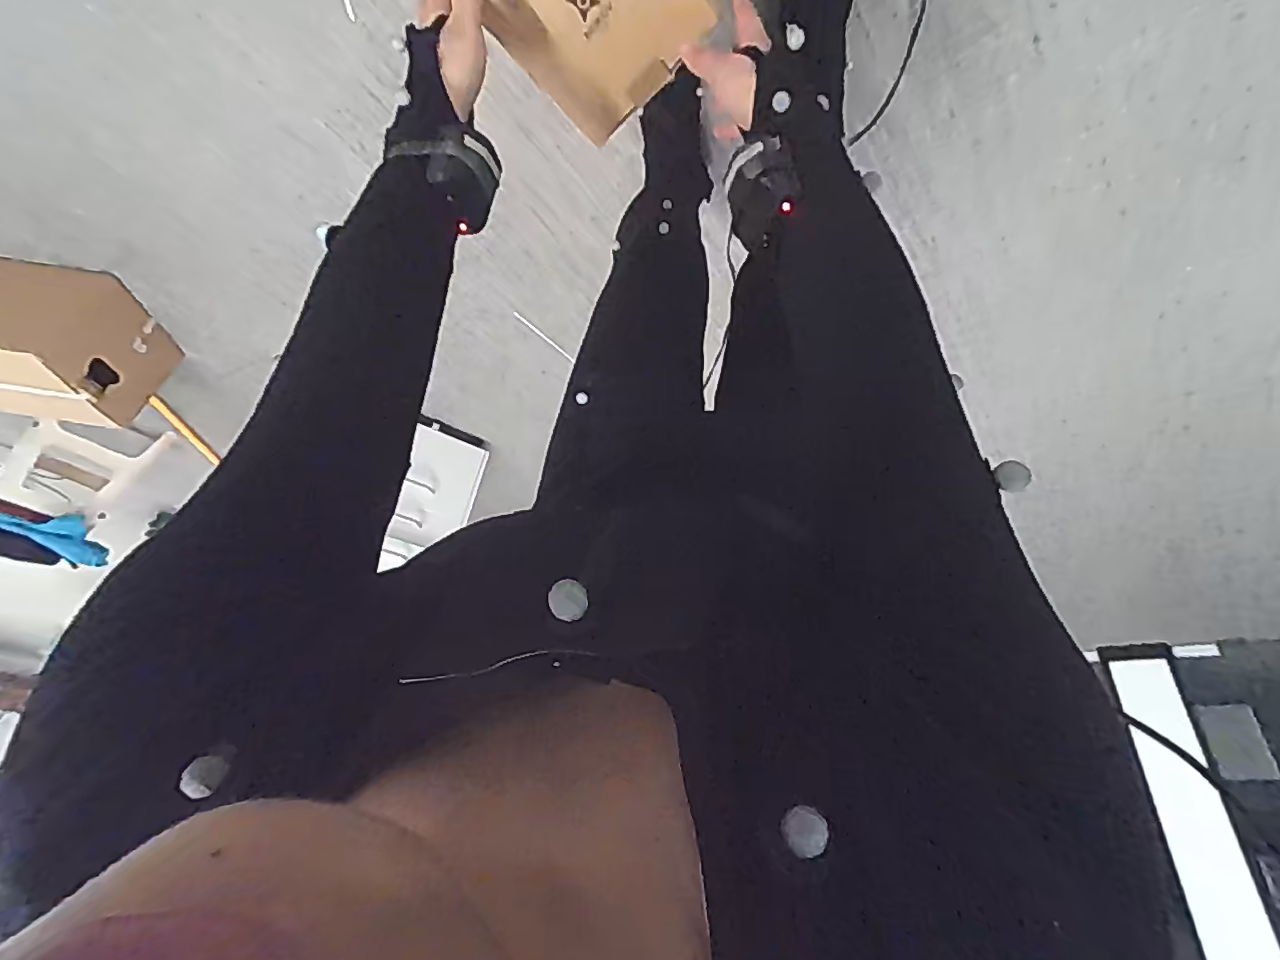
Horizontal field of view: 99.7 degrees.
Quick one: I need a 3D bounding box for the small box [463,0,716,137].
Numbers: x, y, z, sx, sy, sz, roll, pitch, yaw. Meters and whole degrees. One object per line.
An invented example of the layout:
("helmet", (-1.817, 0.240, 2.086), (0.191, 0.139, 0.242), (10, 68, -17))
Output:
("small box", (-0.043, -0.487, 0.511), (0.179, 0.176, 0.168), (32, 141, -34))
